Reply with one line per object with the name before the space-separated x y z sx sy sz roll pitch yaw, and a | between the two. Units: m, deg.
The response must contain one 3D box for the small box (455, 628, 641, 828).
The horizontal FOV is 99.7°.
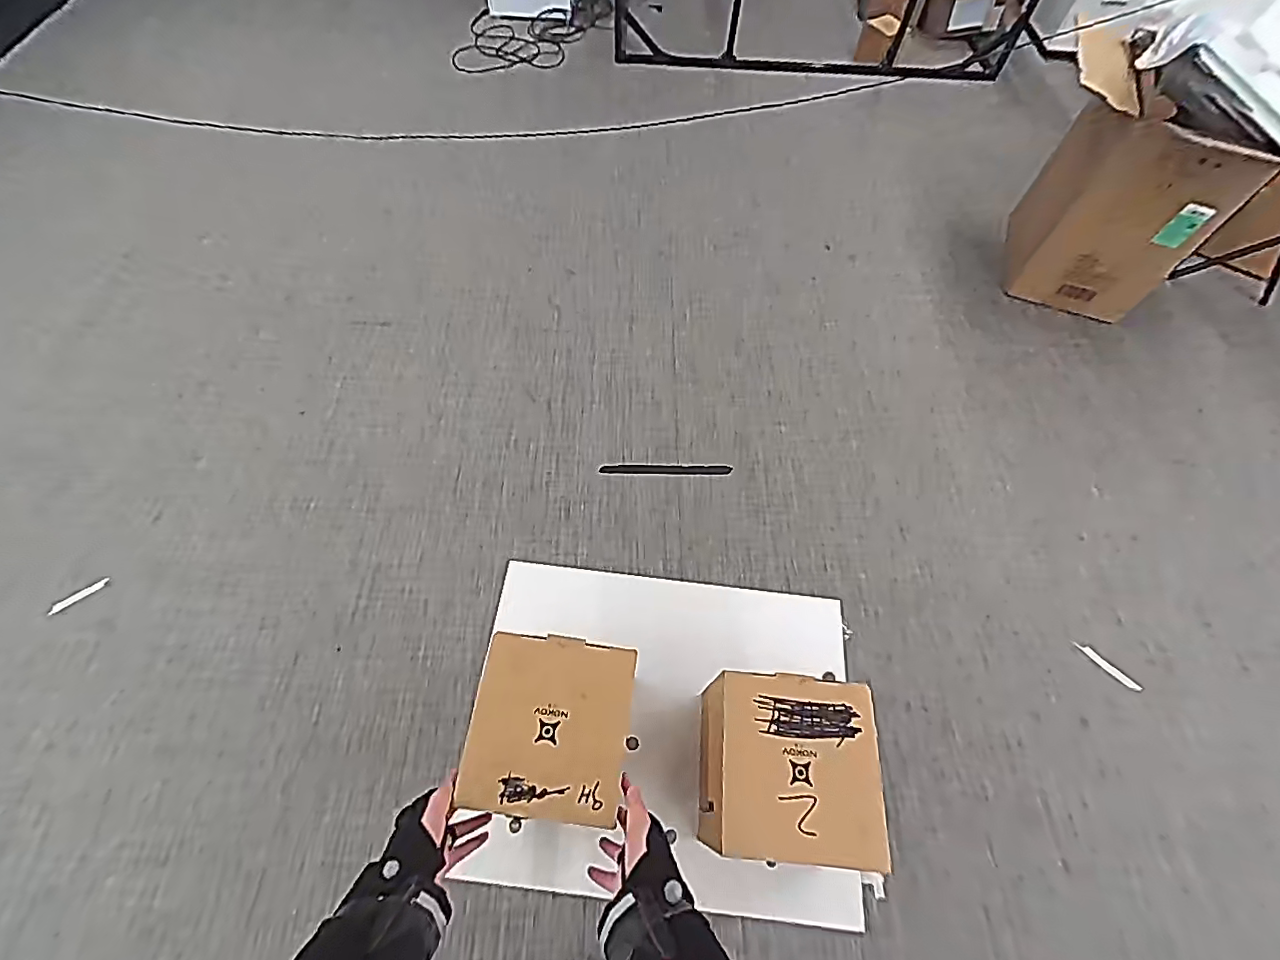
small box | -0.095 0.294 0.638 0.168 0.176 0.179 8 59 2
